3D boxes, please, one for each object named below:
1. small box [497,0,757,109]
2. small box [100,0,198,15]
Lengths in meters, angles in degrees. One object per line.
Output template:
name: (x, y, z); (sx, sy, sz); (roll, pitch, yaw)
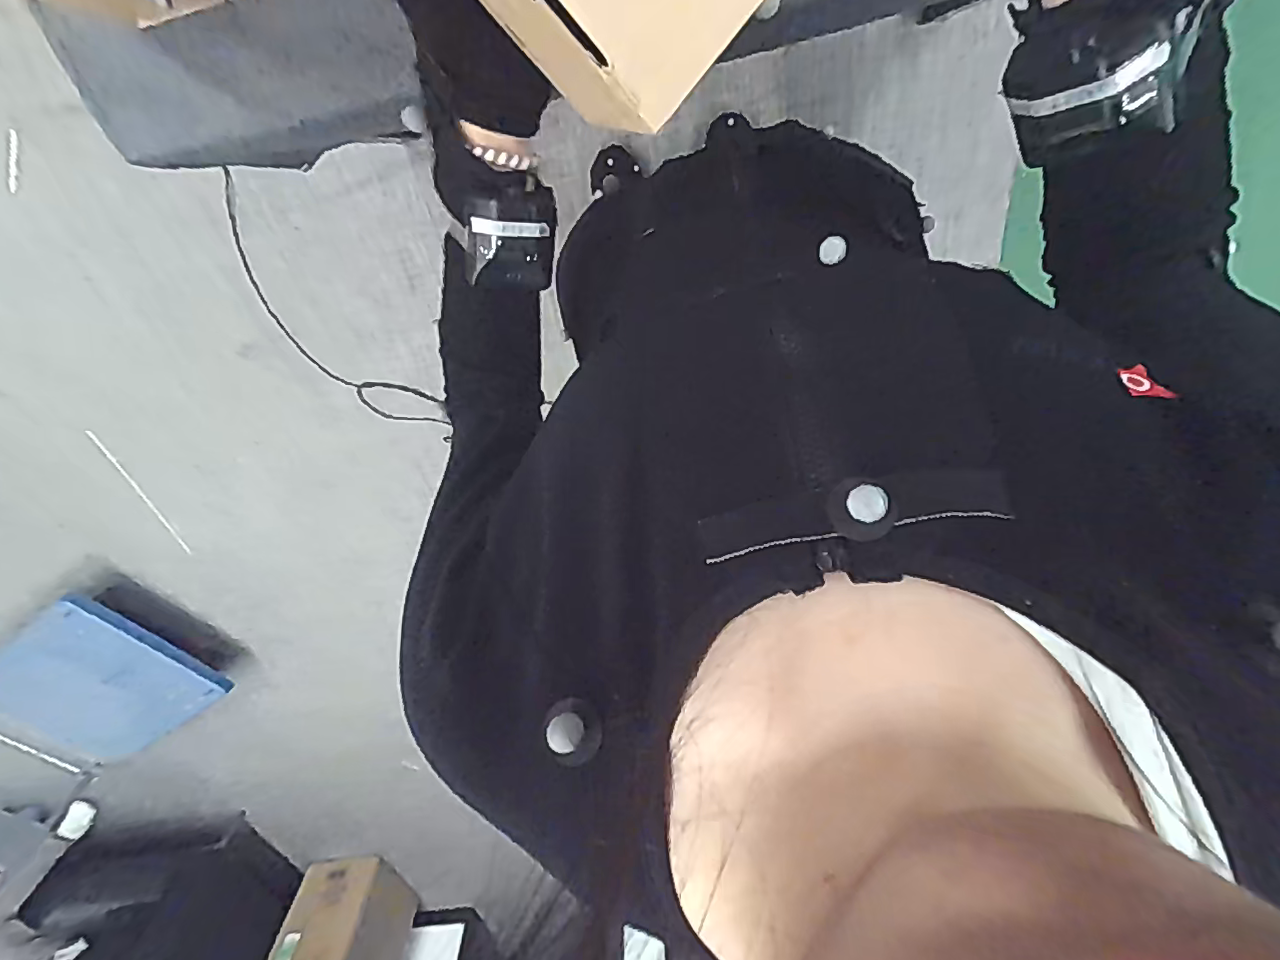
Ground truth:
small box: (-0.007, -0.281, 0.210); (0.168, 0.176, 0.179); (34, 108, -31)
small box: (-0.421, -0.486, 0.395); (0.168, 0.176, 0.179); (-11, 121, 6)
